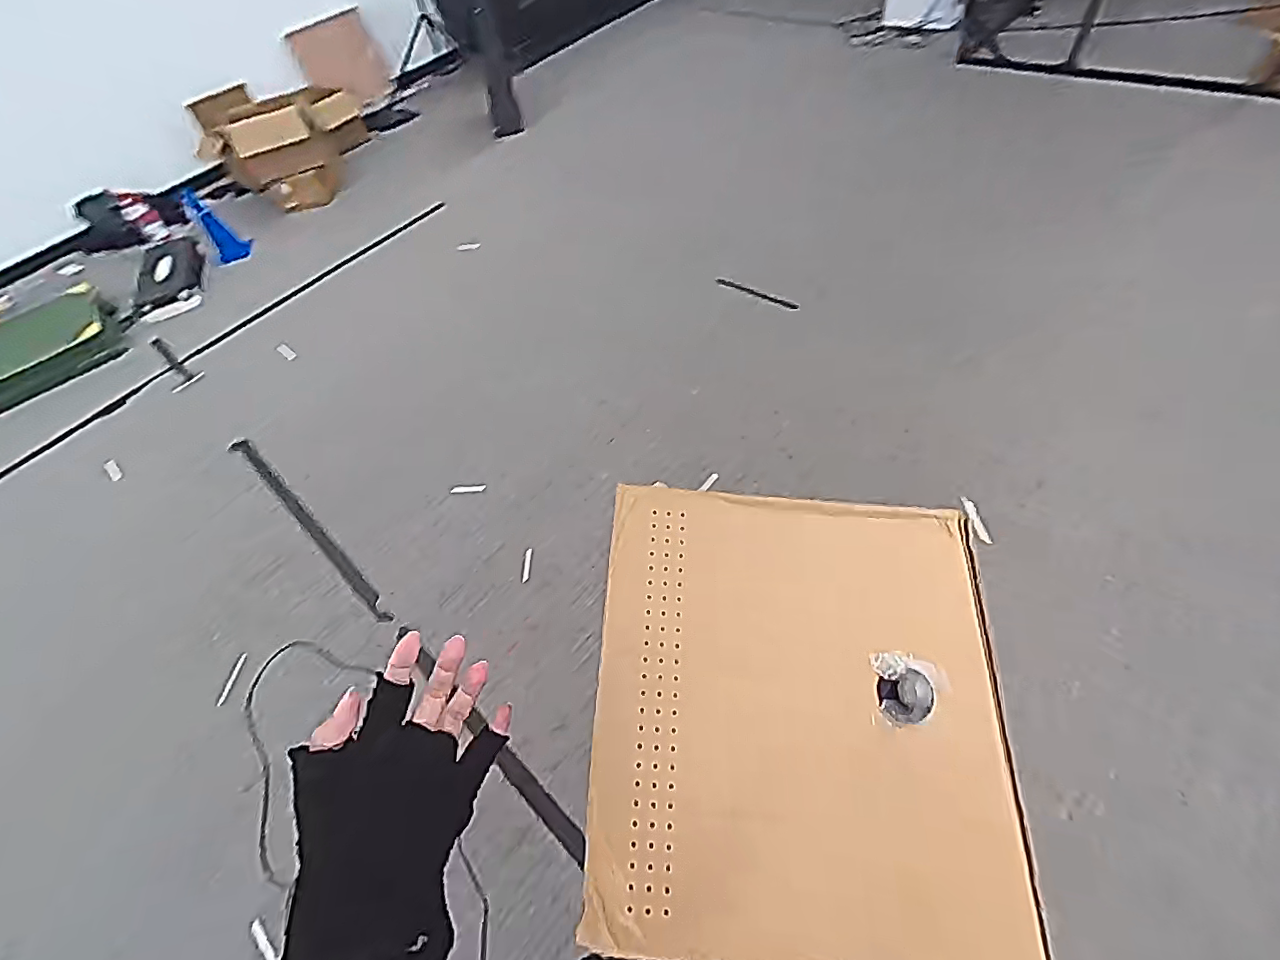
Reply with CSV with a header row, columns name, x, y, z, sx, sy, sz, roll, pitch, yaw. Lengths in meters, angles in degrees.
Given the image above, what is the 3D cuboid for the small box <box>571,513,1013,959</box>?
name,x,y,z,sx,sy,sz,roll,pitch,yaw
small box,0.055,0.126,0.302,0.176,0.168,0.179,4,66,0
